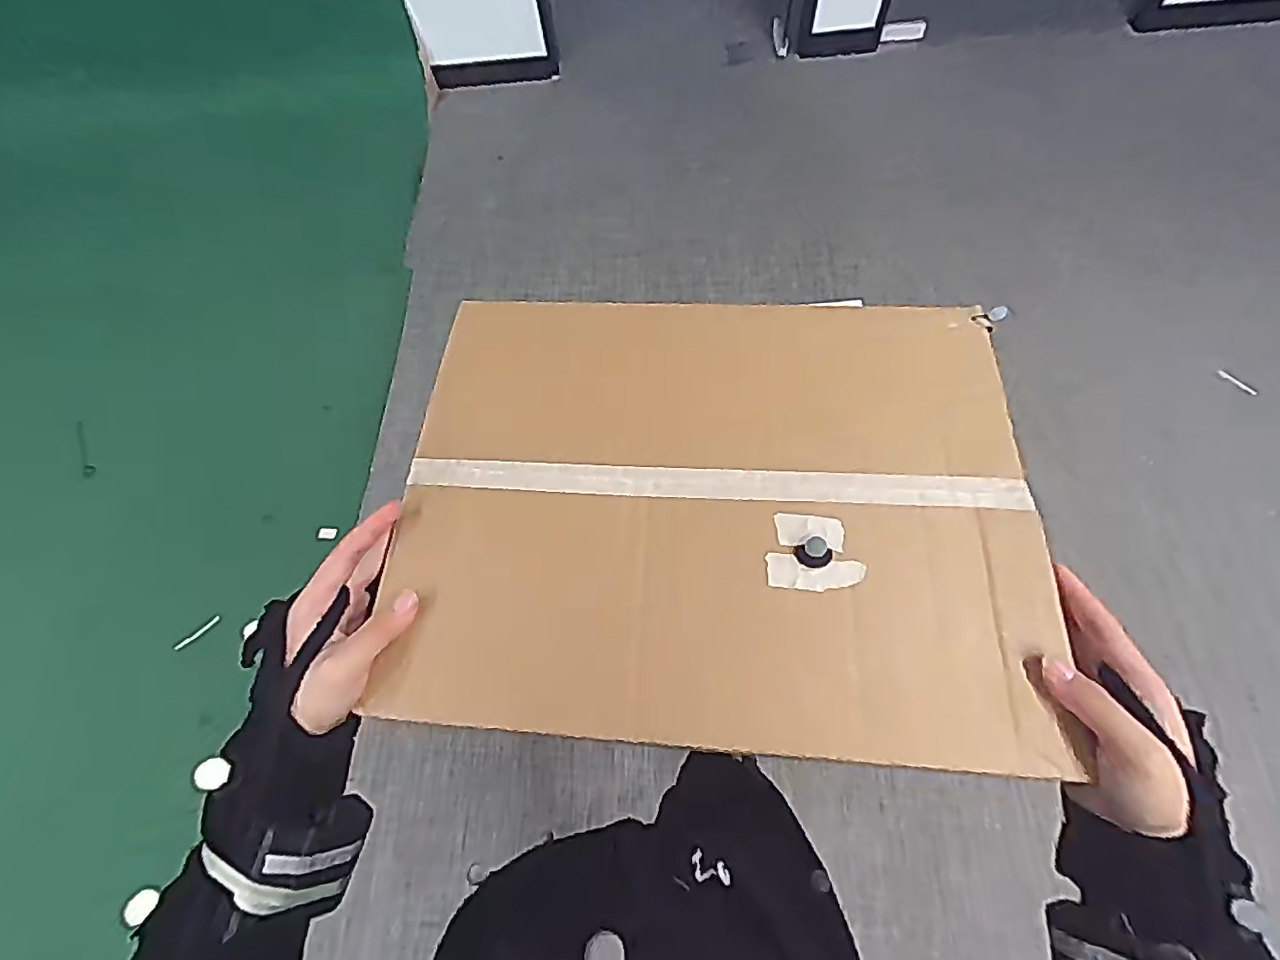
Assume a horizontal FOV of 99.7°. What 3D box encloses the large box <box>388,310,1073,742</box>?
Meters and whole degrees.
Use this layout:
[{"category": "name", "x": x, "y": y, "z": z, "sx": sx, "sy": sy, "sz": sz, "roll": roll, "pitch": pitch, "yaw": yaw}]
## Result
[{"category": "large box", "x": 0.058, "y": 0.064, "z": 0.509, "sx": 0.408, "sy": 0.320, "sz": 0.320, "roll": 2, "pitch": 65, "yaw": 5}]
